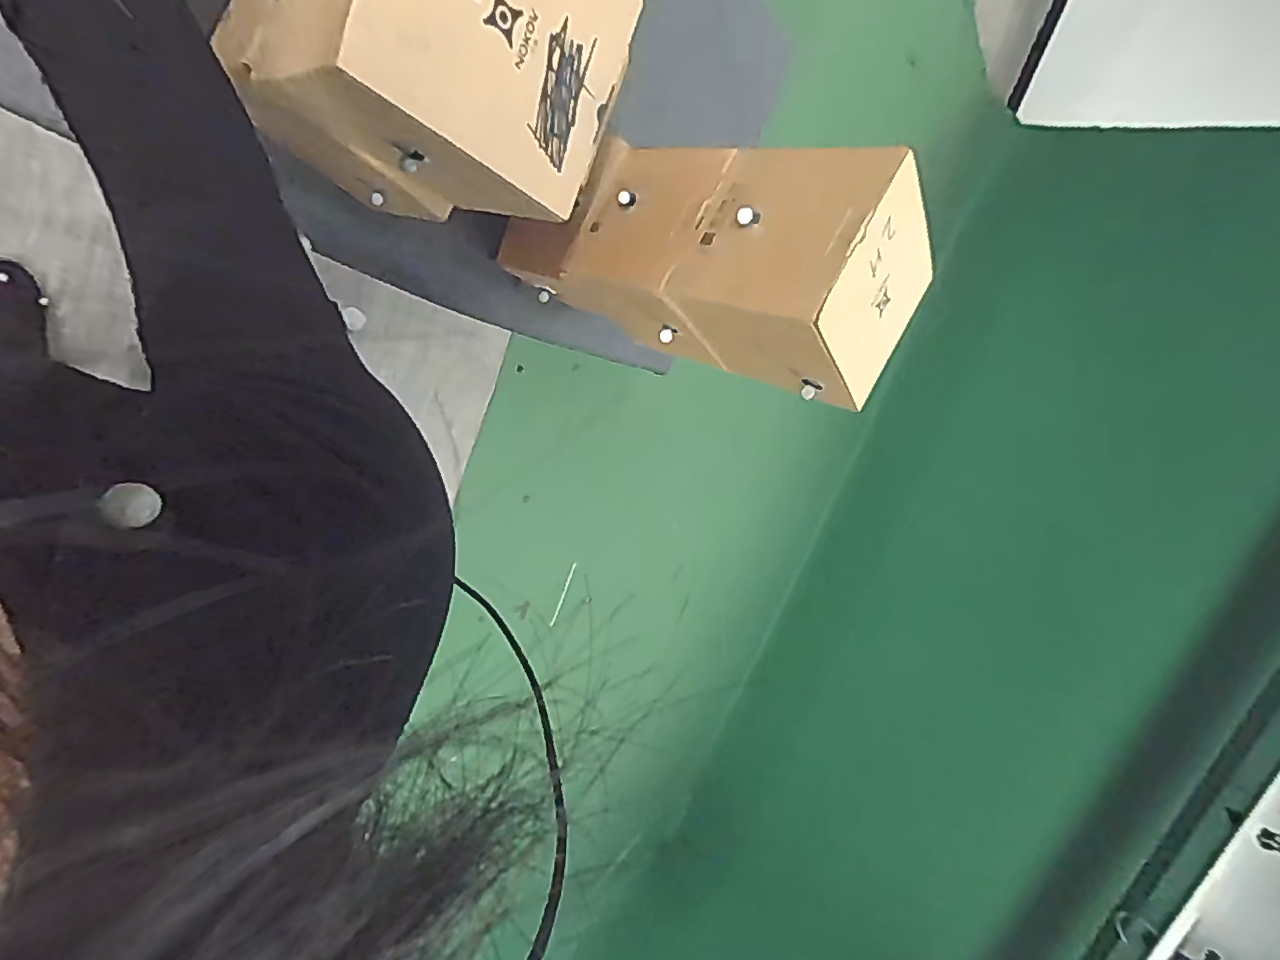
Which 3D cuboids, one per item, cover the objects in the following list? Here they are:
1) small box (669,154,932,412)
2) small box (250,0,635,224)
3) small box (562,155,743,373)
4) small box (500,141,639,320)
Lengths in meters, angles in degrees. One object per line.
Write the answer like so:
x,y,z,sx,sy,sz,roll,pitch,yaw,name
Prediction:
0.162,-0.196,0.544,0.179,0.176,0.168,31,87,-51,small box
-0.141,-0.313,0.389,0.179,0.176,0.168,11,104,-51,small box
0.044,-0.255,0.643,0.179,0.176,0.168,29,89,-51,small box
-0.064,-0.329,0.740,0.168,0.176,0.179,11,103,-50,small box
